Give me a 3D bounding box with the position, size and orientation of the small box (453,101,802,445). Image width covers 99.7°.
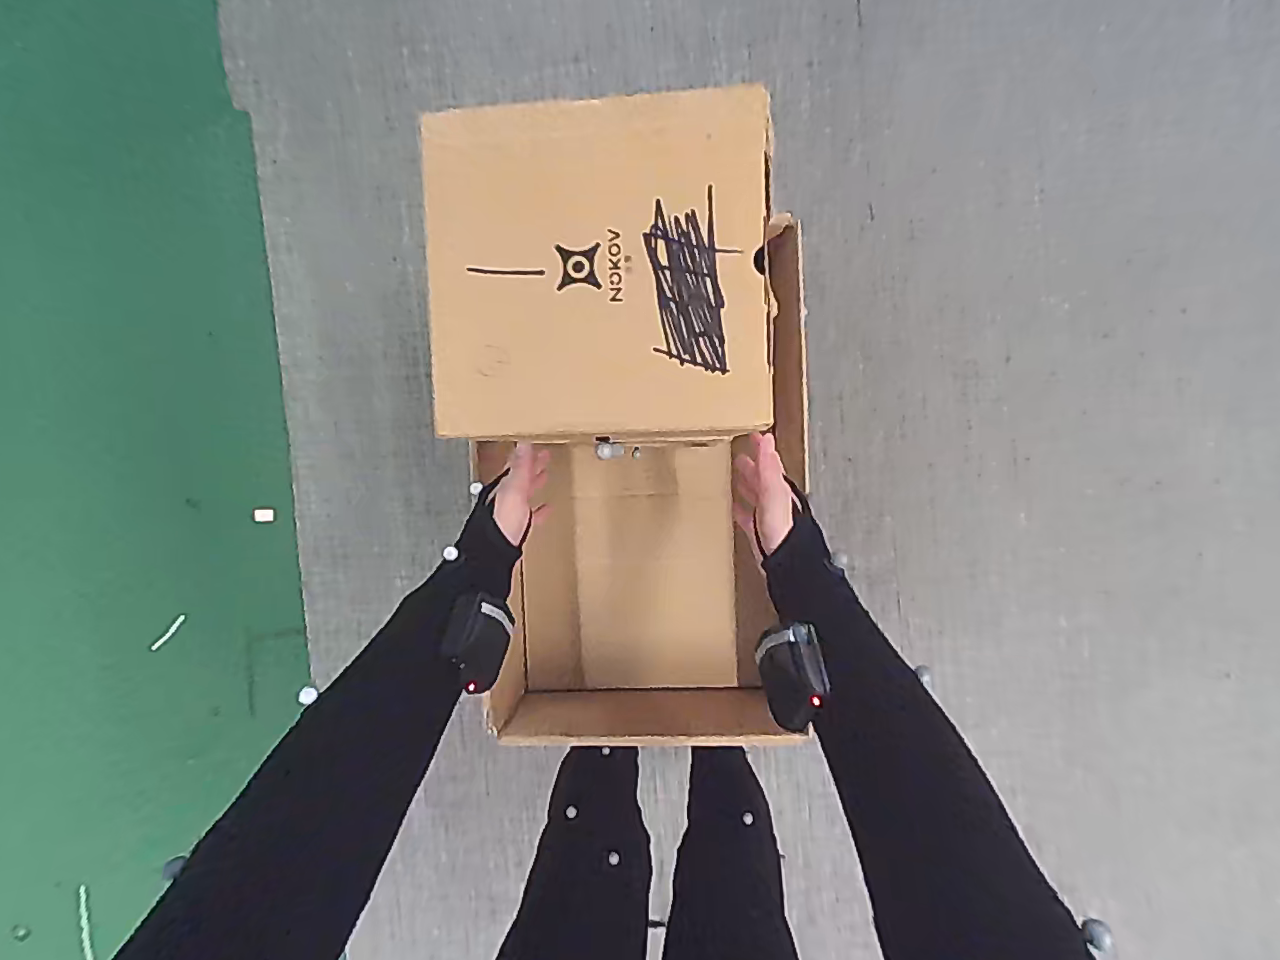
[{"bbox_3d":[-0.003,-0.108,0.351,0.179,0.176,0.168,-1,93,4],"label":"small box"}]
